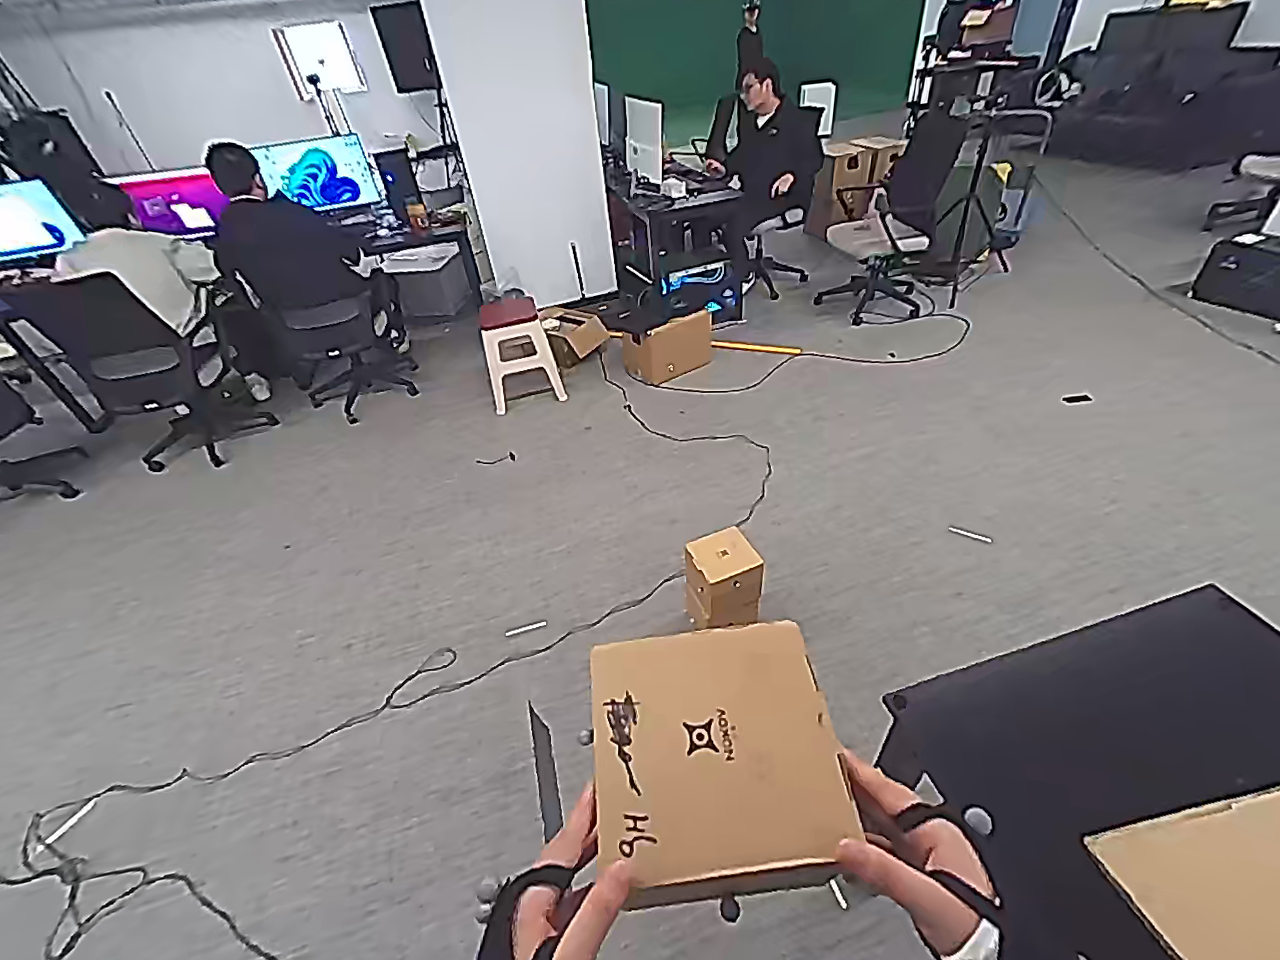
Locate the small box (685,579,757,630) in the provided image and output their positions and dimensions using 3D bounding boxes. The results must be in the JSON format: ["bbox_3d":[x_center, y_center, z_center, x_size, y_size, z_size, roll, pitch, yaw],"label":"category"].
[{"bbox_3d":[0.255,0.404,1.731,0.179,0.176,0.168,-18,41,-11],"label":"small box"}]

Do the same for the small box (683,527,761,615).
[{"bbox_3d":[0.245,0.278,1.628,0.179,0.176,0.168,-18,42,-14],"label":"small box"}]

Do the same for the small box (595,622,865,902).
[{"bbox_3d":[0.058,0.241,0.460,0.179,0.176,0.168,-6,47,-2],"label":"small box"}]
